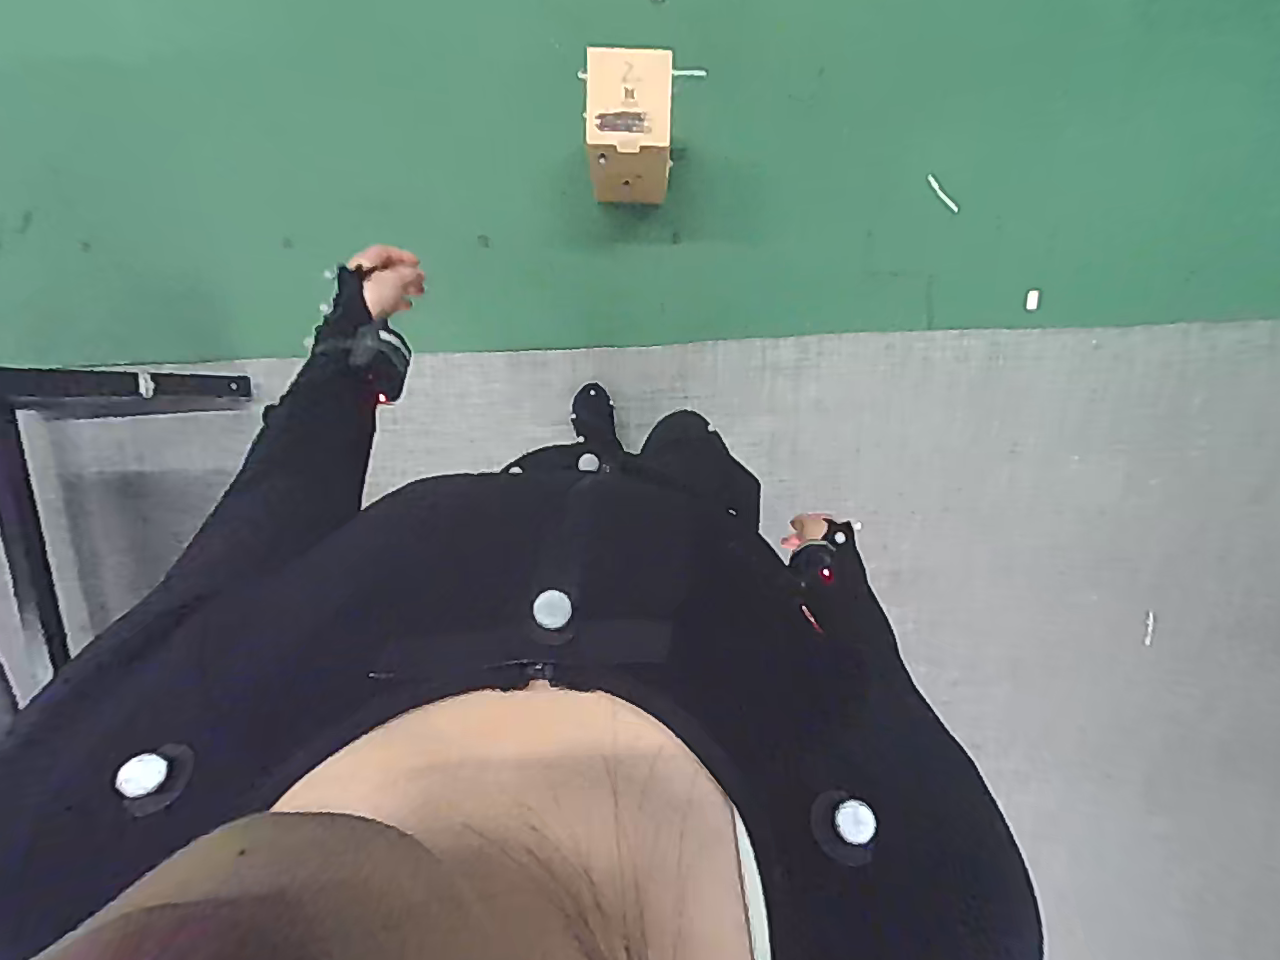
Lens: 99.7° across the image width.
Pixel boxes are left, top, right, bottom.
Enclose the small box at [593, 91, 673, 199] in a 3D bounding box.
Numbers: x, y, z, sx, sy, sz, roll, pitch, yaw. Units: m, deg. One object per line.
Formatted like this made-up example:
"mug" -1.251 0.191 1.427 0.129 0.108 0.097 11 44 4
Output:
"small box" -0.019 -0.779 1.273 0.179 0.176 0.168 1 100 -1
